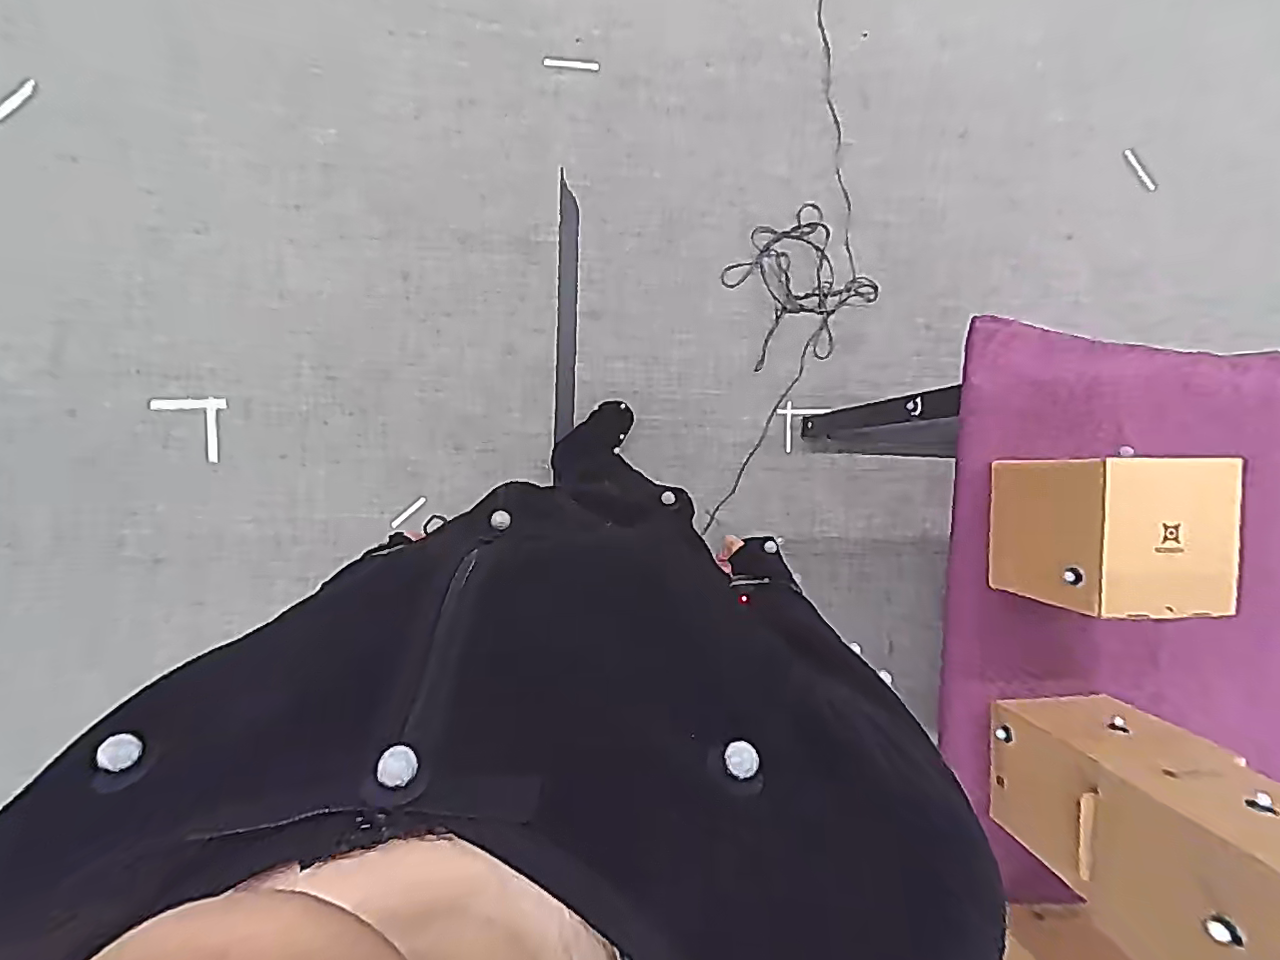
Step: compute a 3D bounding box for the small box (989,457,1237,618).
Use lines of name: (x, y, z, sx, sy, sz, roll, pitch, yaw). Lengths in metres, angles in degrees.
small box: (0.568, 0.061, 0.670, 0.168, 0.176, 0.179, 0, 92, -6)

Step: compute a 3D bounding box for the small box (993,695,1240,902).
small box: (0.580, 0.387, 0.680, 0.179, 0.176, 0.168, -1, 92, -6)

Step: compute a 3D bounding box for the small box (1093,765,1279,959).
small box: (0.582, 0.396, 0.515, 0.168, 0.176, 0.179, 2, 92, -5)
